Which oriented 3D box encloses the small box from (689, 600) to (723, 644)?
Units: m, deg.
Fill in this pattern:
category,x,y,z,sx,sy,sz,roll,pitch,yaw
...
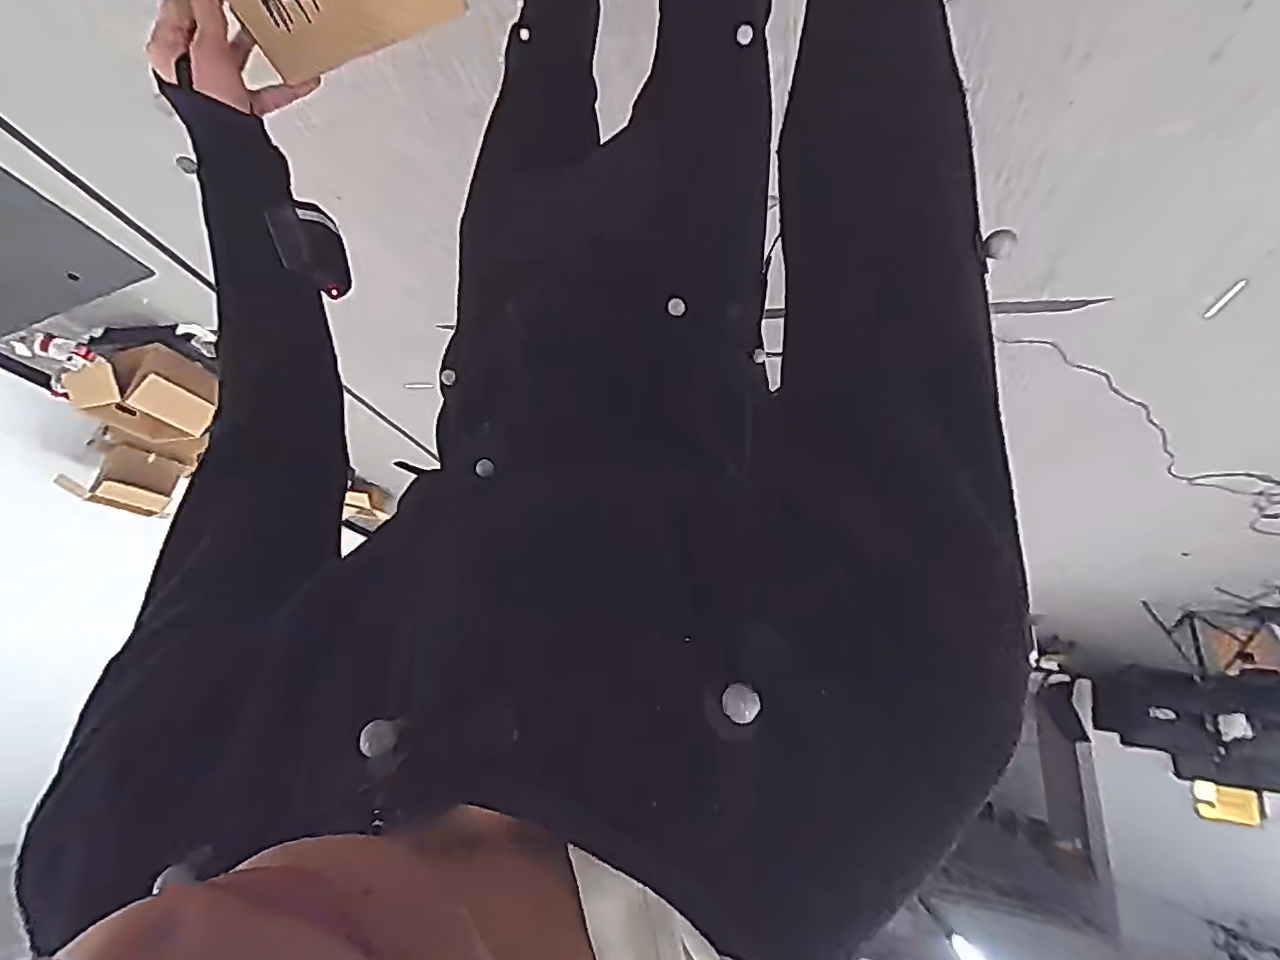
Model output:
category,x,y,z,sx,sy,sz,roll,pitch,yaw
small box,0.334,0.708,2.693,0.168,0.176,0.179,5,155,9
